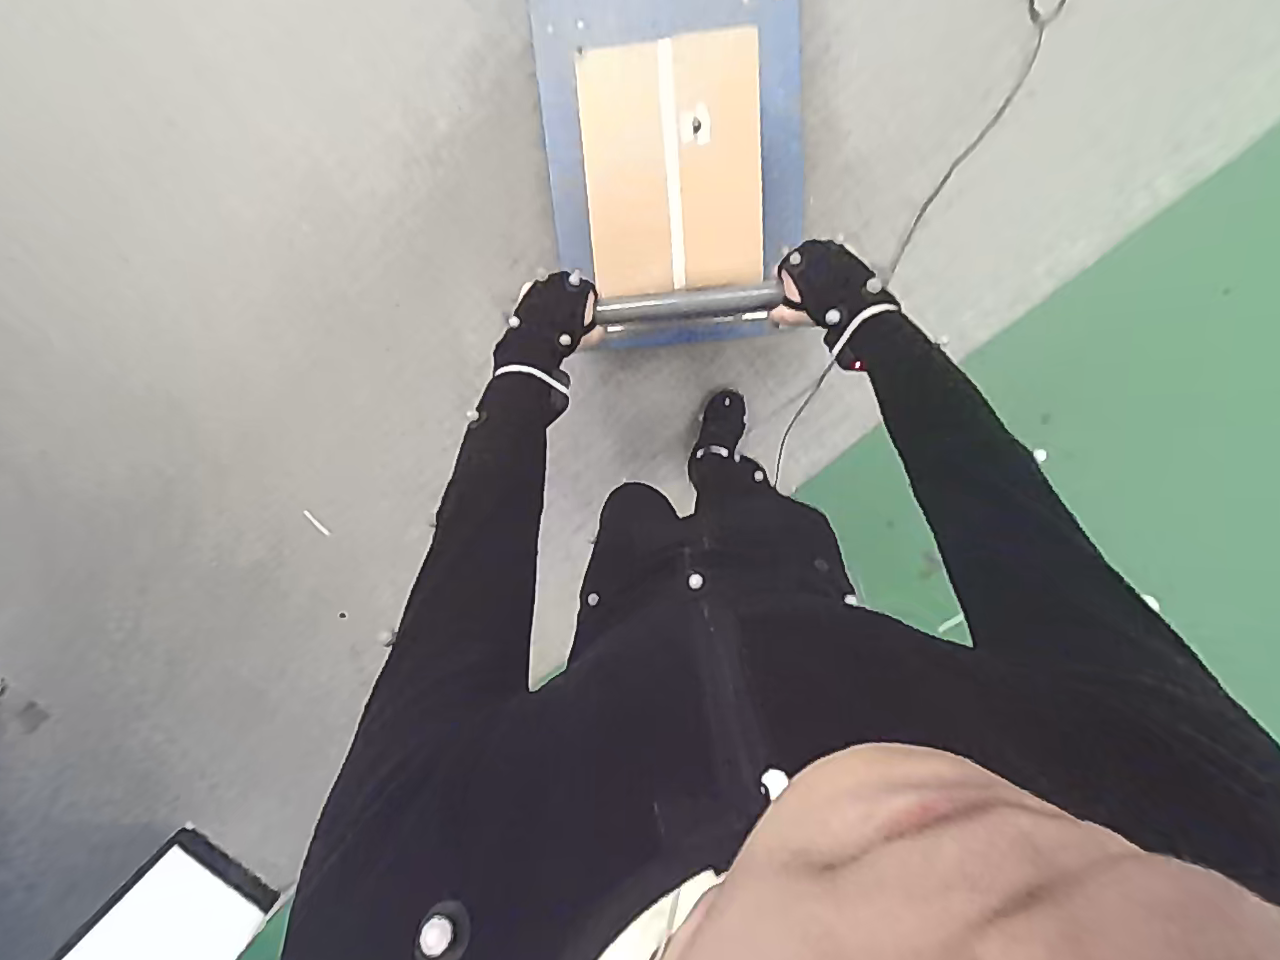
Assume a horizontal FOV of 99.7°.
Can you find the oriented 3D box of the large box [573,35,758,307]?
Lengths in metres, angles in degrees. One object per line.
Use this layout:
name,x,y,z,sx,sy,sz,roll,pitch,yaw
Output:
large box,0.065,-0.592,1.124,0.320,0.320,0.408,-3,104,5
